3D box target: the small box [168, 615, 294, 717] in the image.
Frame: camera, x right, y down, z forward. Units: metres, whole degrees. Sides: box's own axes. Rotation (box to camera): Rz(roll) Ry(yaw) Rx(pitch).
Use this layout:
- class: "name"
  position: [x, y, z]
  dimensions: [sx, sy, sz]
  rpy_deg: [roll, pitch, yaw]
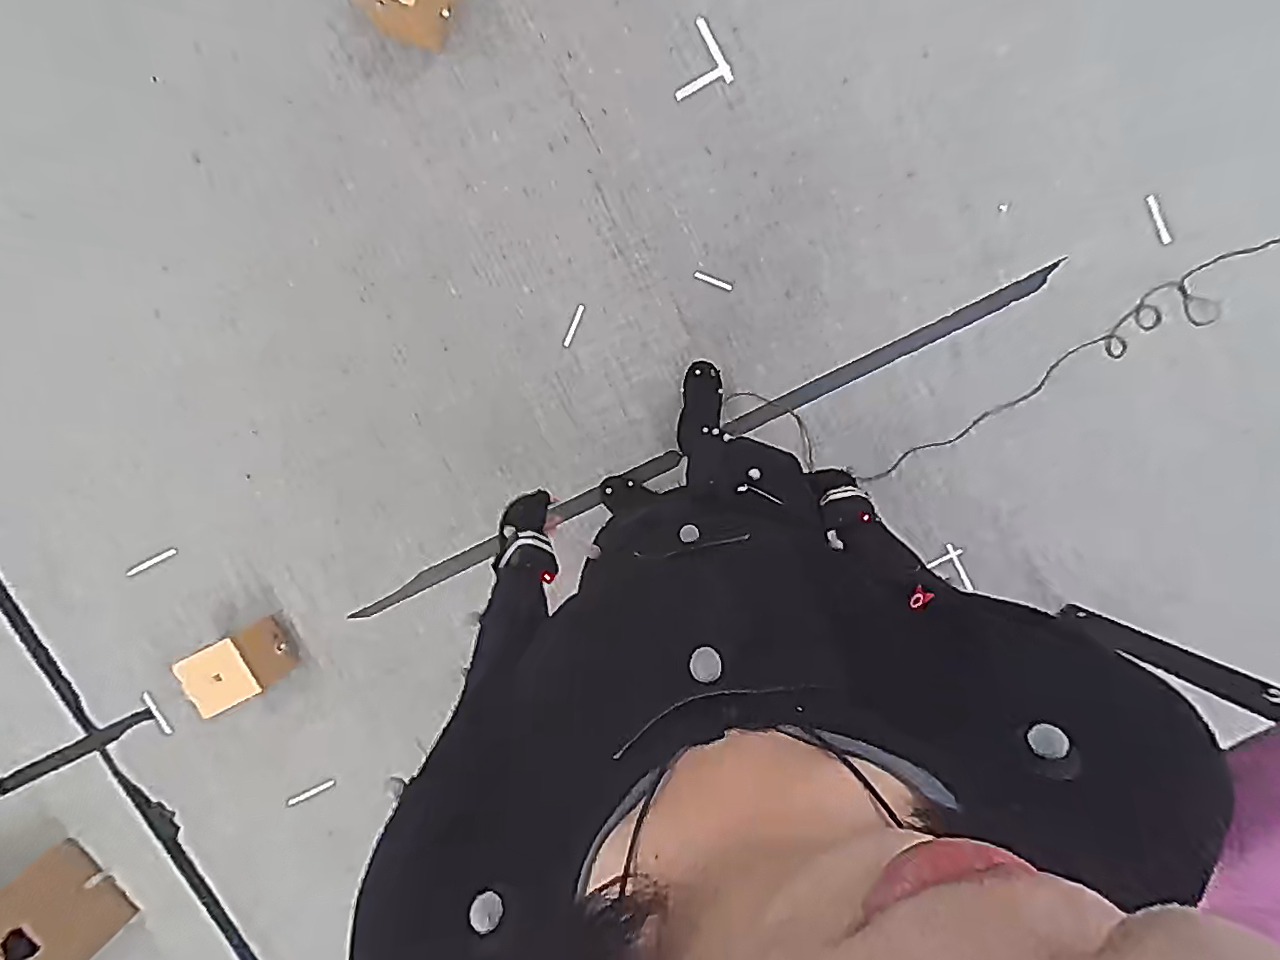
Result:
- class: "small box"
  position: [-1.090, 0.492, 1.455]
  dimensions: [0.179, 0.176, 0.168]
  rpy_deg: [-27, 96, 0]

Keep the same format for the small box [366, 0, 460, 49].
- class: "small box"
  position: [-0.564, -1.204, 1.307]
  dimensions: [0.179, 0.176, 0.168]
  rpy_deg: [23, 95, -4]
